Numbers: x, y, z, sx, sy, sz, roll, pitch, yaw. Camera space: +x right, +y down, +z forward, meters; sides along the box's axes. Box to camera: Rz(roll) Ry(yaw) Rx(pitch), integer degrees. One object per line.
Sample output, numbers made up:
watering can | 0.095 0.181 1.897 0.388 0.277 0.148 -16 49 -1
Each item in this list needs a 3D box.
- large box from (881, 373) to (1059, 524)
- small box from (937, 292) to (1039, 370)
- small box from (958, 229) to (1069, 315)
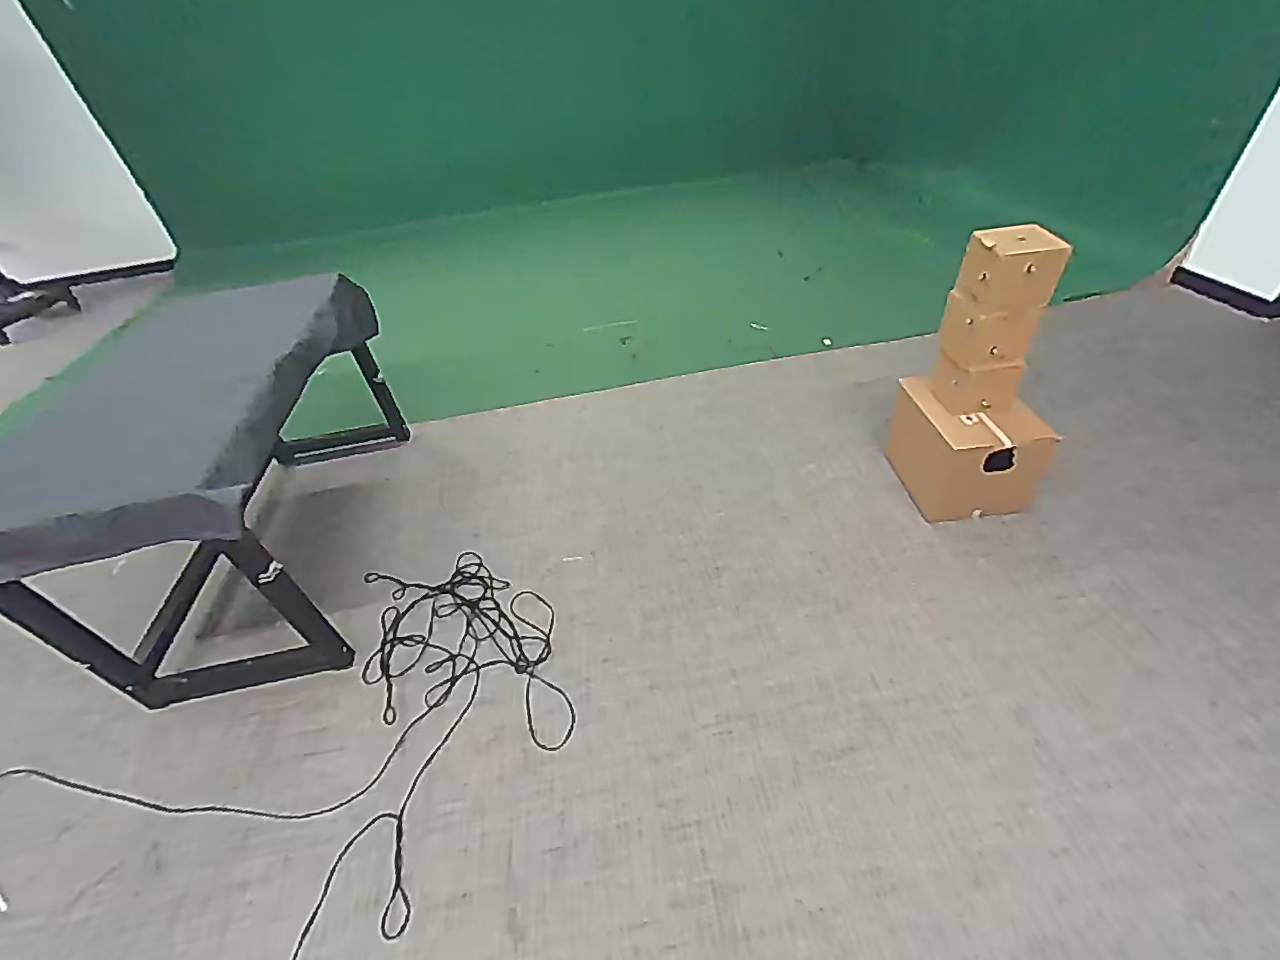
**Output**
large box | 1.067 -0.111 1.818 0.320 0.320 0.408 -8 43 1
small box | 1.006 -0.444 1.585 0.168 0.176 0.179 -8 43 -1
small box | 1.002 -0.565 1.476 0.179 0.176 0.168 -5 44 1
